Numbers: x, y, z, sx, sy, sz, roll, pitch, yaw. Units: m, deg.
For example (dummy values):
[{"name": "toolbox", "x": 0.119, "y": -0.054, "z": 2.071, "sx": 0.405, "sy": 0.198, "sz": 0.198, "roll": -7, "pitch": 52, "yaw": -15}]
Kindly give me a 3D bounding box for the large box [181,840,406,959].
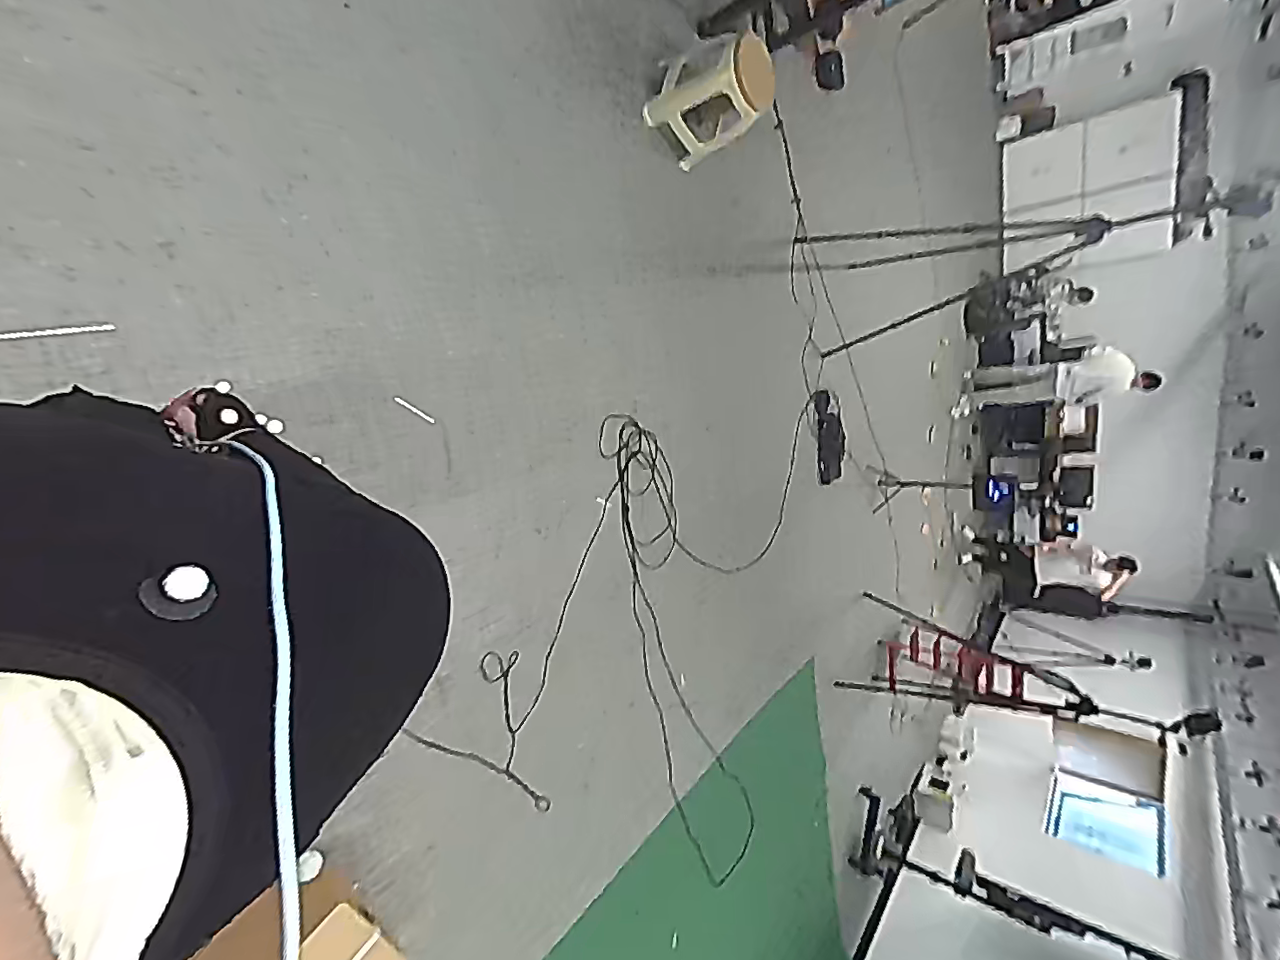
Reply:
[{"name": "large box", "x": -0.893, "y": 1.238, "z": 1.357, "sx": 0.408, "sy": 0.320, "sz": 0.320, "roll": -41, "pitch": 120, "yaw": -36}]
